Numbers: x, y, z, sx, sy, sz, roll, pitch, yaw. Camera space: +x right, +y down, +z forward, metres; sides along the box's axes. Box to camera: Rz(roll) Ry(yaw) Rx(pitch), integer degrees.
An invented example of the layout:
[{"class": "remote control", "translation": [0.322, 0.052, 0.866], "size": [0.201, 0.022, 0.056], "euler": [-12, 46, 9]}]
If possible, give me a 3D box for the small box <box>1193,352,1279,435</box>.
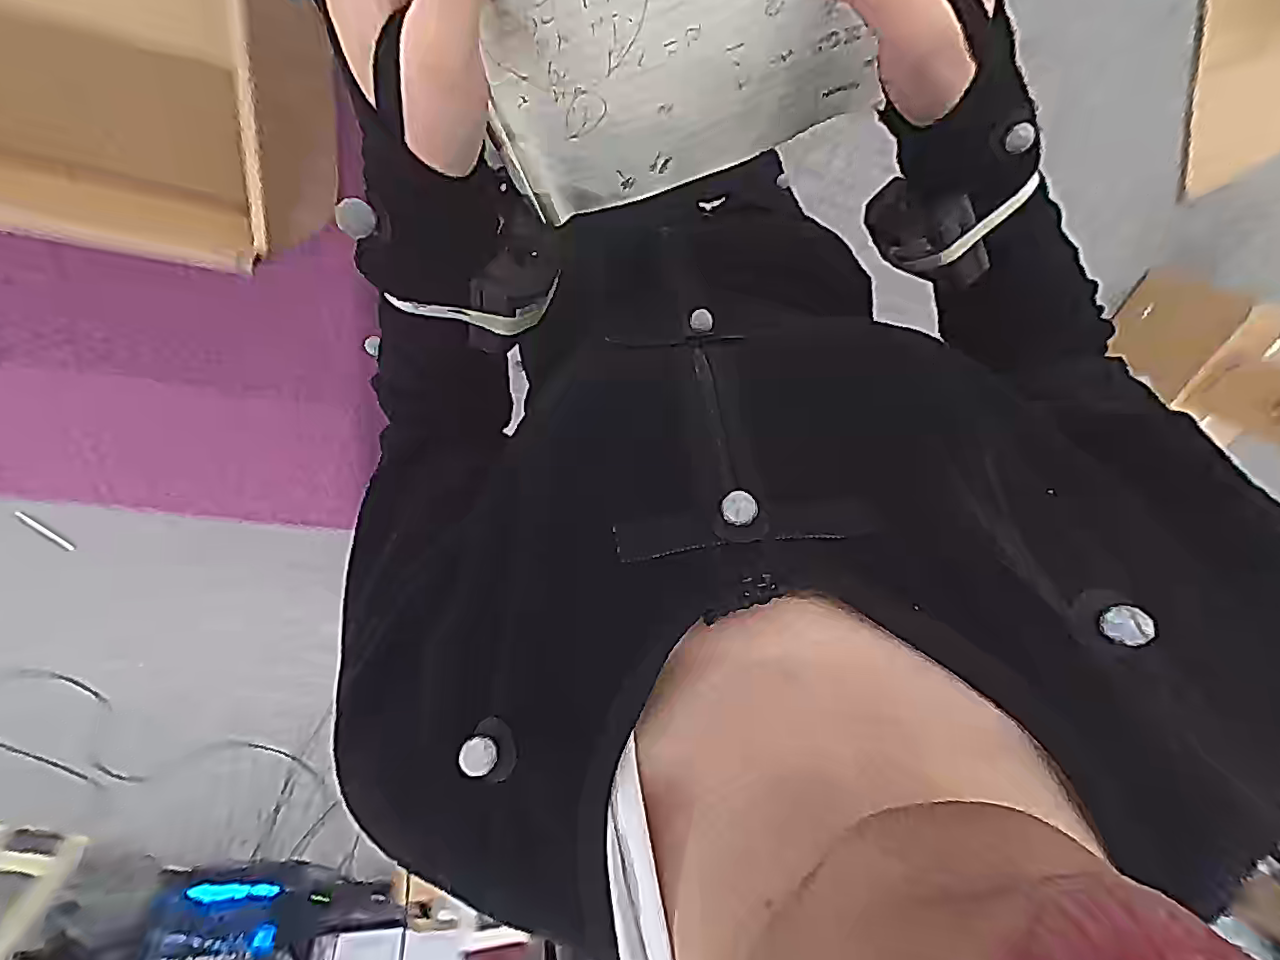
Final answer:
[{"class": "small box", "translation": [1.581, -0.207, 1.363], "size": [0.179, 0.176, 0.168], "euler": [13, 121, -18]}]
